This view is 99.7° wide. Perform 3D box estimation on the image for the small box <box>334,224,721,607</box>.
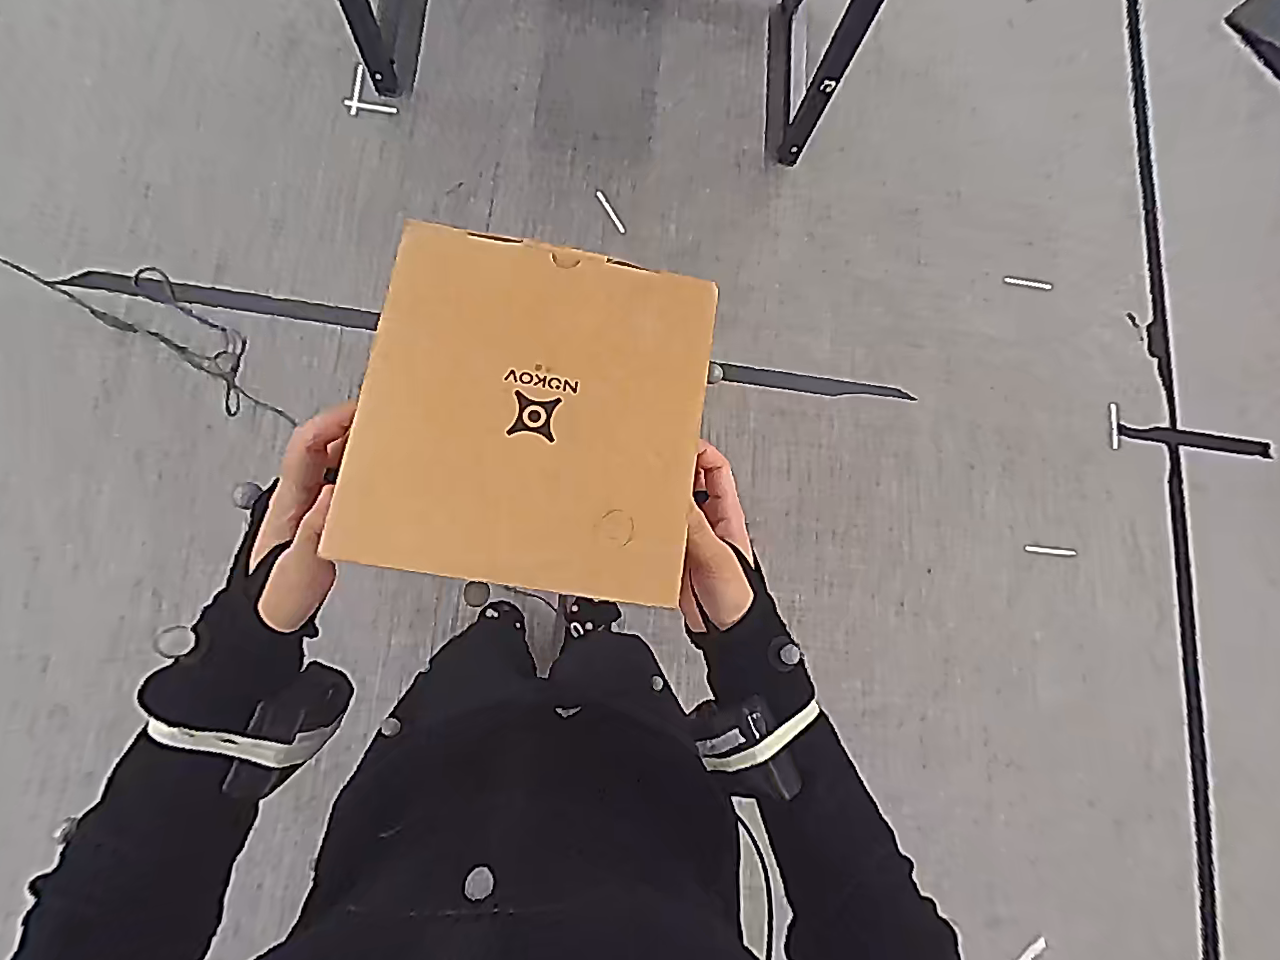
[{"bbox_3d":[-0.057,-0.020,0.344,0.168,0.176,0.179,9,77,-6],"label":"small box"}]
